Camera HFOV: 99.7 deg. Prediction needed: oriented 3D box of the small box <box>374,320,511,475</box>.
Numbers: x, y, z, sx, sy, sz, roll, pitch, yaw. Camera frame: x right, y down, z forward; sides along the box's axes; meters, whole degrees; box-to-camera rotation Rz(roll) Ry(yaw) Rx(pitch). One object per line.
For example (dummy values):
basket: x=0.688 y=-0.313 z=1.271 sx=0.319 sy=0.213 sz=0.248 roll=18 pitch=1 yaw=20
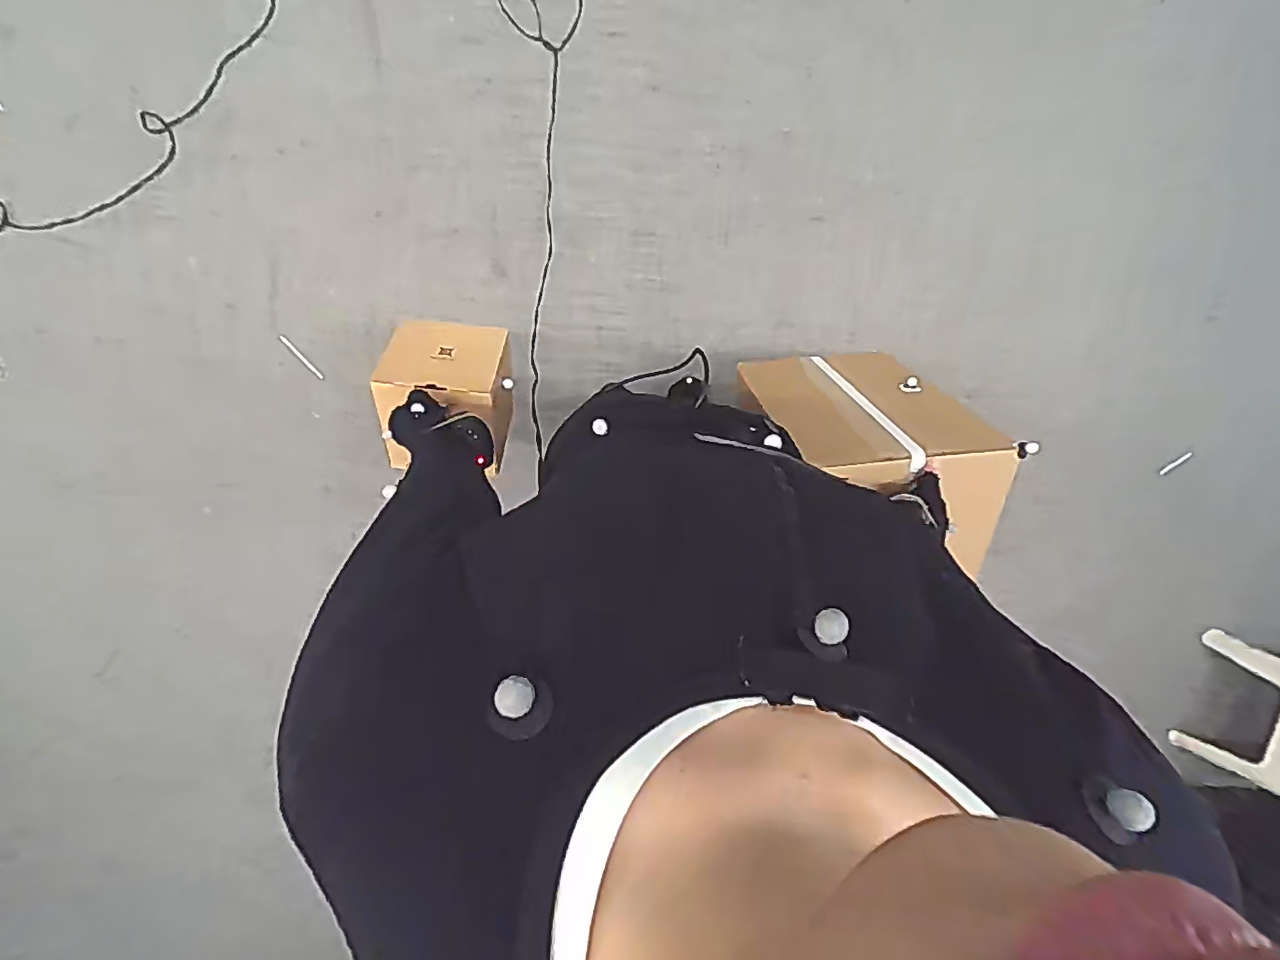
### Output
small box: x=-0.302 y=-0.131 z=0.869 sx=0.168 sy=0.179 sz=0.176 roll=4 pitch=137 yaw=-6
